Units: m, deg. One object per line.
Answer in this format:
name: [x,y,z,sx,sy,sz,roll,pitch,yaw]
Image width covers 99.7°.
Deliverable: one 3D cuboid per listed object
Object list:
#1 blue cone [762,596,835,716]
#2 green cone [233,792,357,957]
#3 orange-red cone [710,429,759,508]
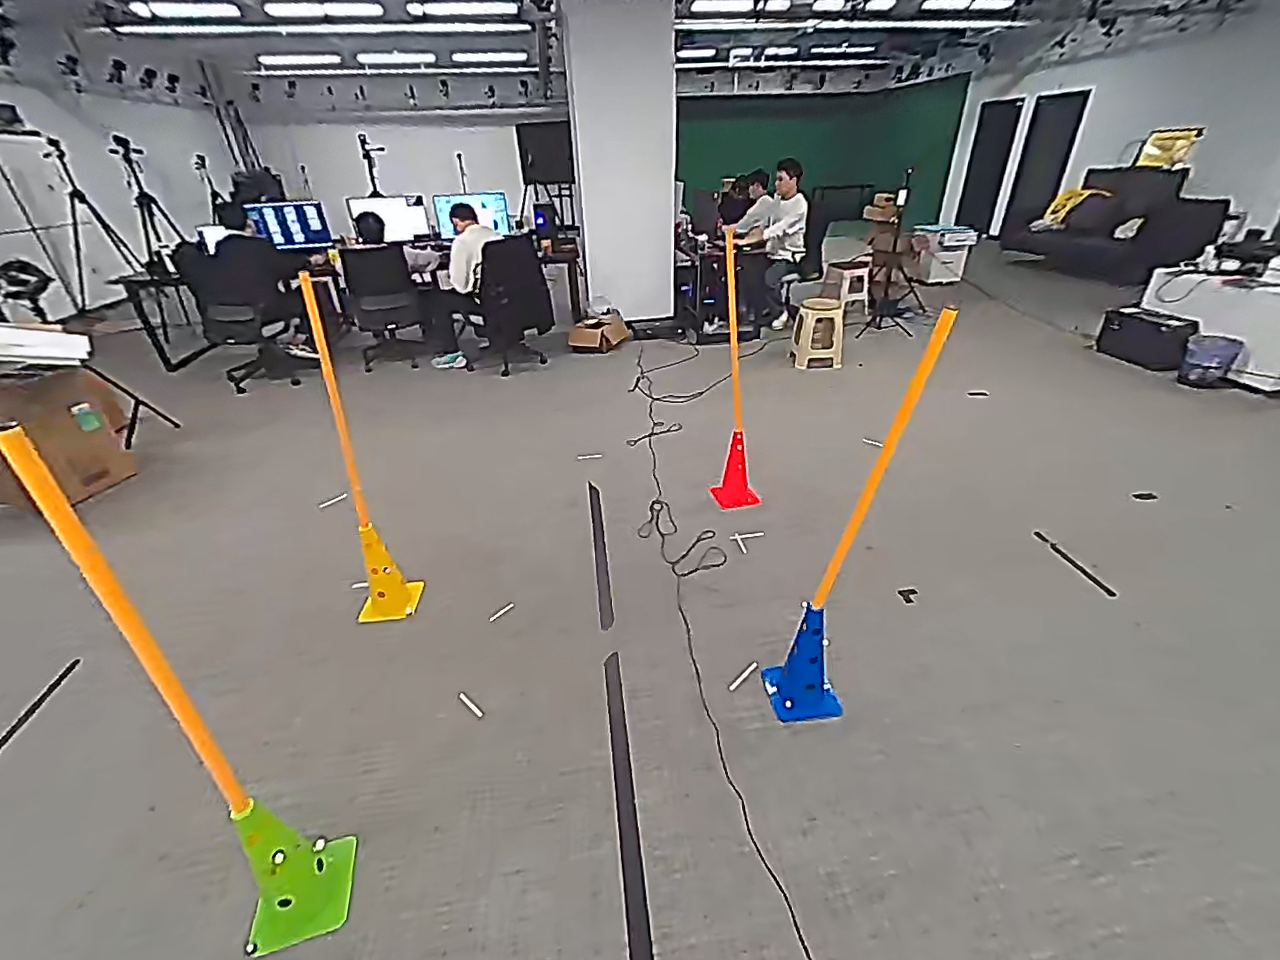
blue cone: [0.484,0.502,1.592,0.193,0.380,0.192,-4,30,-3]
green cone: [-0.777,0.800,1.161,0.200,0.368,0.202,-11,30,-15]
orange-red cone: [0.446,-0.072,2.543,0.199,0.360,0.198,-10,31,-9]
